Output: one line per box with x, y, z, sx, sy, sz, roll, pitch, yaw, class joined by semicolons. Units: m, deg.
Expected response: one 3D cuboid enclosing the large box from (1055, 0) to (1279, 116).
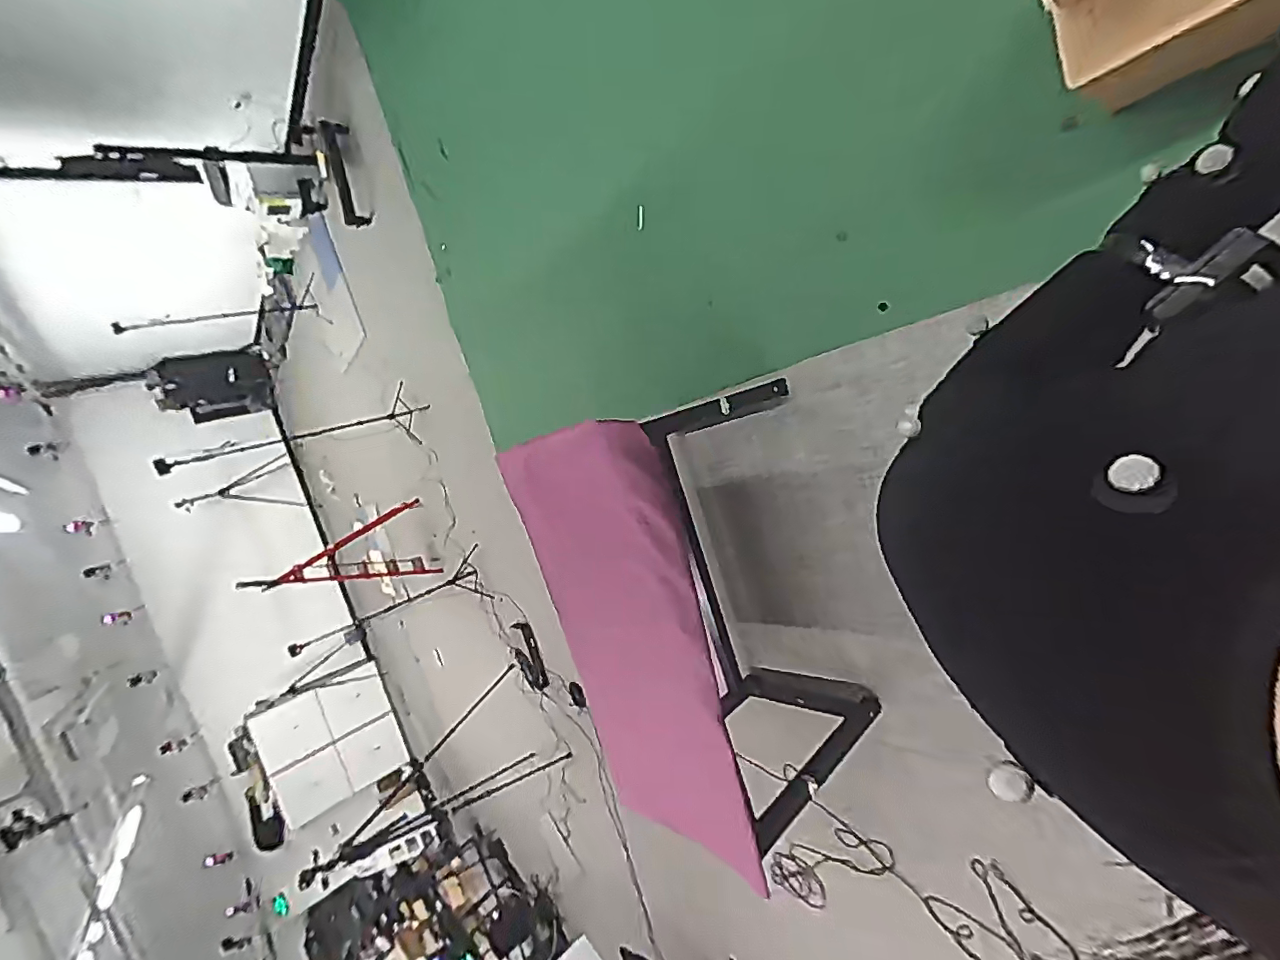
0.868;-0.818;0.775;0.408;0.320;0.320;-9;100;50;large box
